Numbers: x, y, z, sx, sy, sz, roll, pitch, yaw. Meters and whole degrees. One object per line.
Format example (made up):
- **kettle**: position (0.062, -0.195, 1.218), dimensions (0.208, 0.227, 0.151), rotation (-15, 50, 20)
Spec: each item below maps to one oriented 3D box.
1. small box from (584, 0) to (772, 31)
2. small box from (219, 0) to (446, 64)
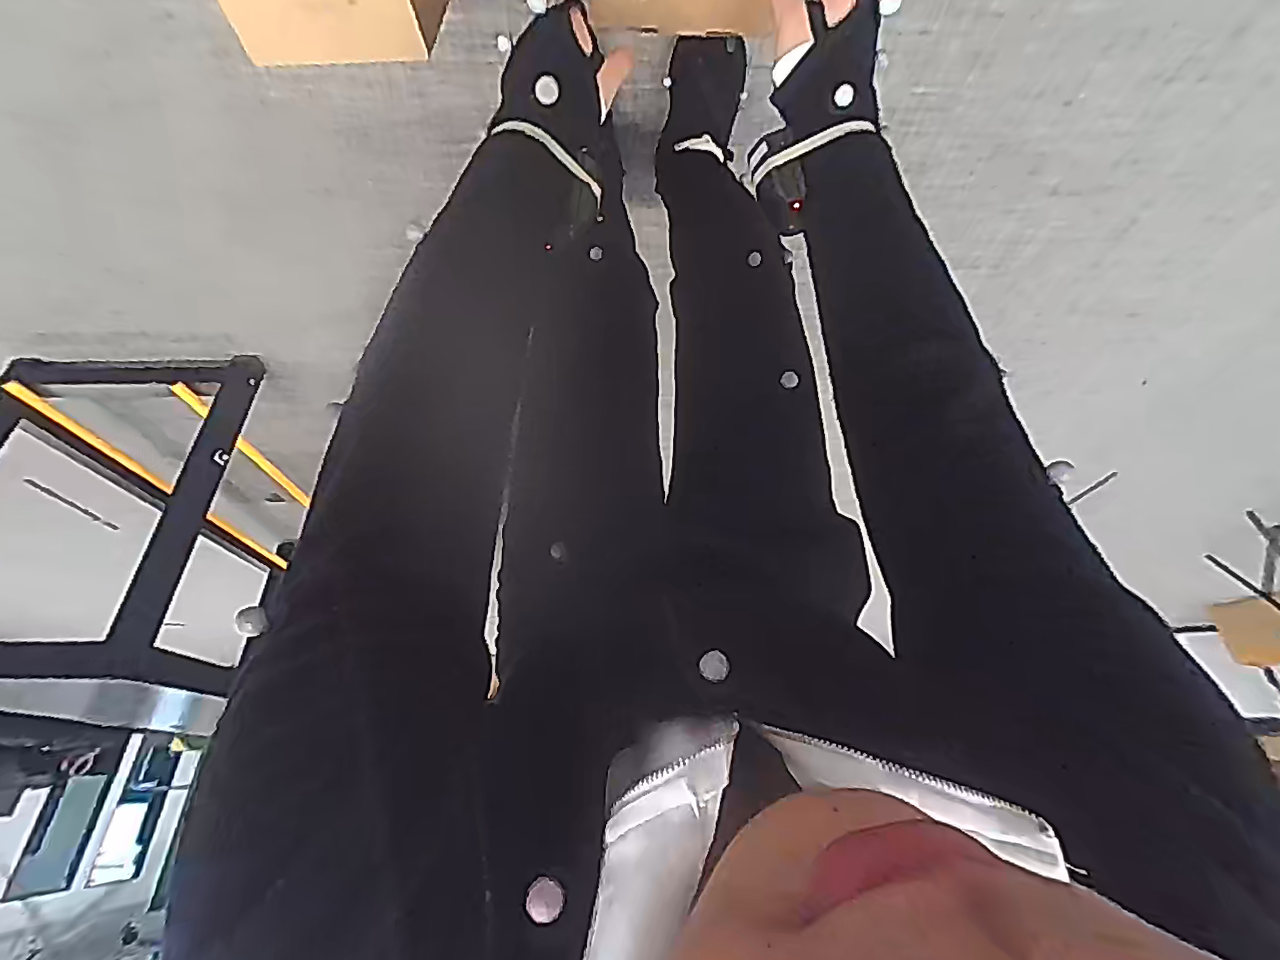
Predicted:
- **small box**: position (0.035, -0.517, 0.445), dimensions (0.168, 0.176, 0.179), rotation (1, 151, -3)
- **small box**: position (-0.278, -0.500, 0.462), dimensions (0.168, 0.176, 0.179), rotation (-1, 152, 2)
